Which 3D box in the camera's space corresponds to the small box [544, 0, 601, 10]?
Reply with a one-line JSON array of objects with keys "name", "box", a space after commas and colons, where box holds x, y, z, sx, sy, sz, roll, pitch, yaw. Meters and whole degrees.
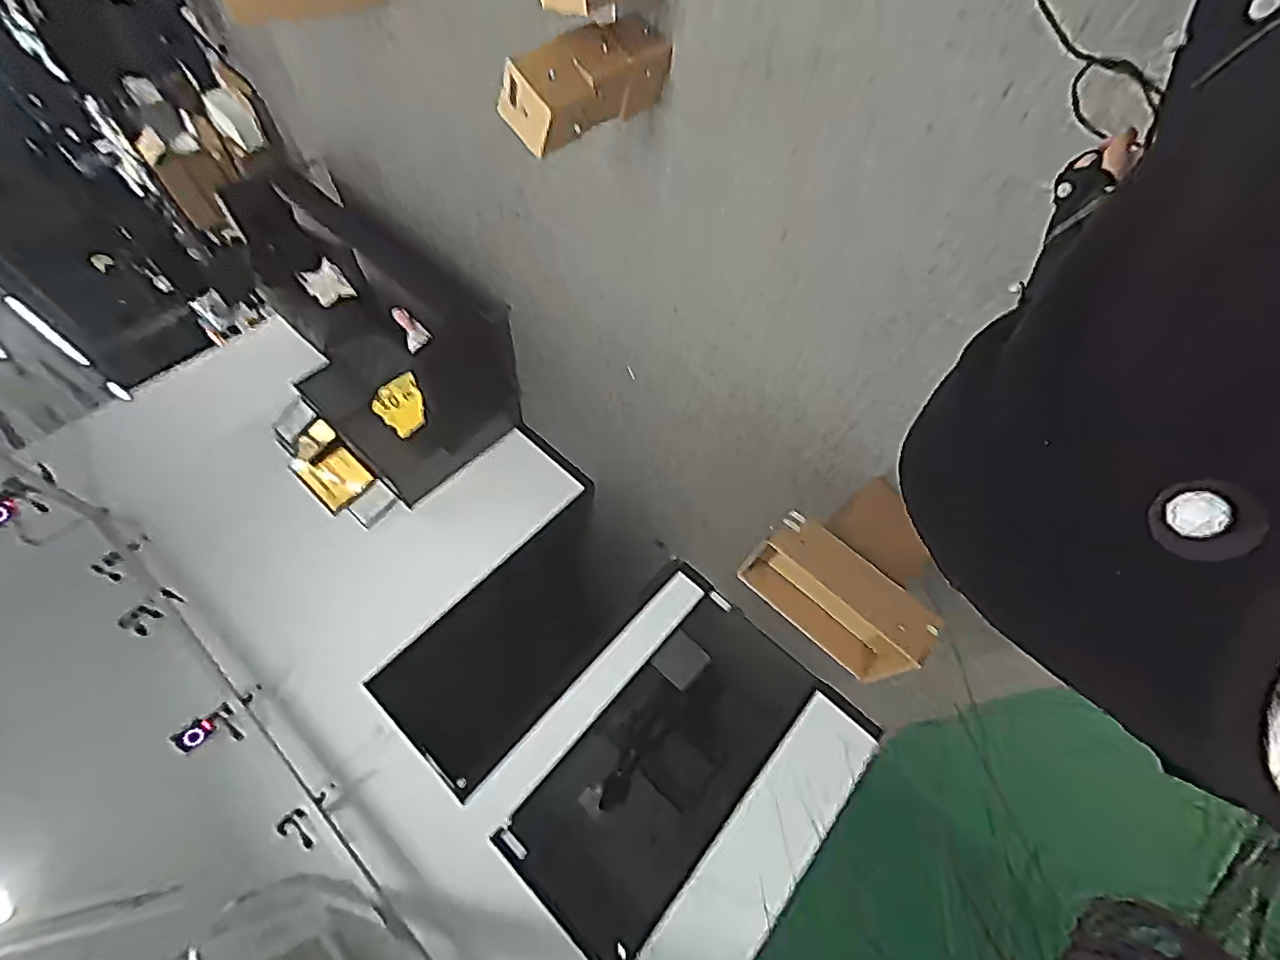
[{"name": "small box", "box": [-0.141, -1.287, 1.312, 0.168, 0.176, 0.179, 33, 153, 26]}]

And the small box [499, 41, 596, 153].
[{"name": "small box", "box": [-0.252, -1.044, 1.470, 0.179, 0.176, 0.168, 49, 155, -5]}]

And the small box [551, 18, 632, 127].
[{"name": "small box", "box": [-0.148, -1.153, 1.538, 0.168, 0.176, 0.179, 47, 155, 0]}]
